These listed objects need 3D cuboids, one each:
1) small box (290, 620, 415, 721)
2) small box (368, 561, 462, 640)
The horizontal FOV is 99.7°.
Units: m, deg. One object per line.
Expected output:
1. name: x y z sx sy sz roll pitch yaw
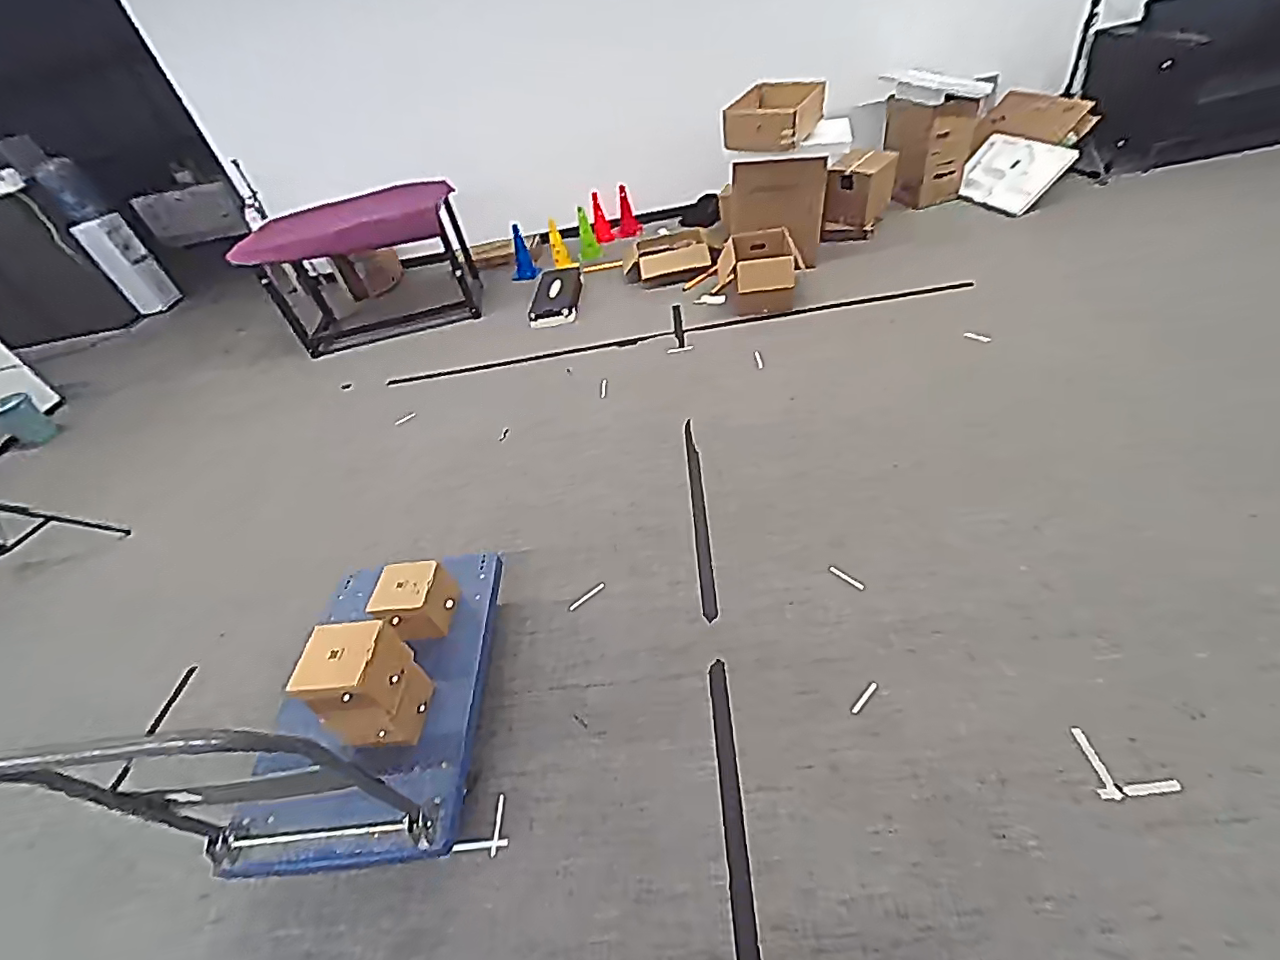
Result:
1. small box: -0.673 0.458 1.289 0.179 0.176 0.168 -7 43 5
2. small box: -0.668 0.367 1.625 0.179 0.176 0.168 -6 44 8
